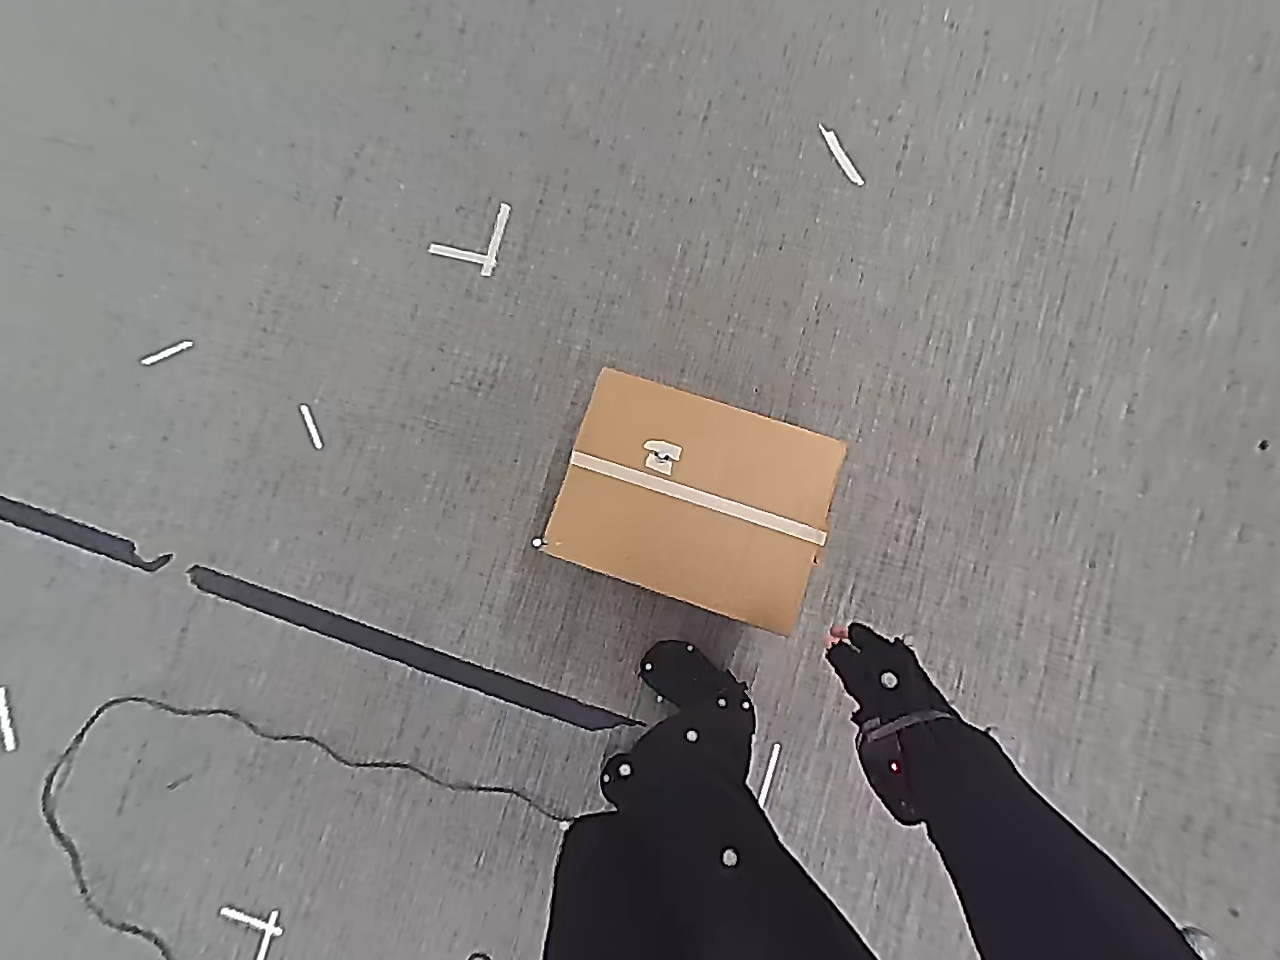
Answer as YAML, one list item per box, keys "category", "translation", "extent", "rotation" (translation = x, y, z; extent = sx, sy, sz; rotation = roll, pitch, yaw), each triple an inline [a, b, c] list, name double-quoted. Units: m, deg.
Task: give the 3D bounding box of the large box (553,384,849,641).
- category: "large box"
  translation: [0.107, 0.060, 0.998]
  extent: [0.408, 0.320, 0.320]
  rotation: [19, 85, 6]
